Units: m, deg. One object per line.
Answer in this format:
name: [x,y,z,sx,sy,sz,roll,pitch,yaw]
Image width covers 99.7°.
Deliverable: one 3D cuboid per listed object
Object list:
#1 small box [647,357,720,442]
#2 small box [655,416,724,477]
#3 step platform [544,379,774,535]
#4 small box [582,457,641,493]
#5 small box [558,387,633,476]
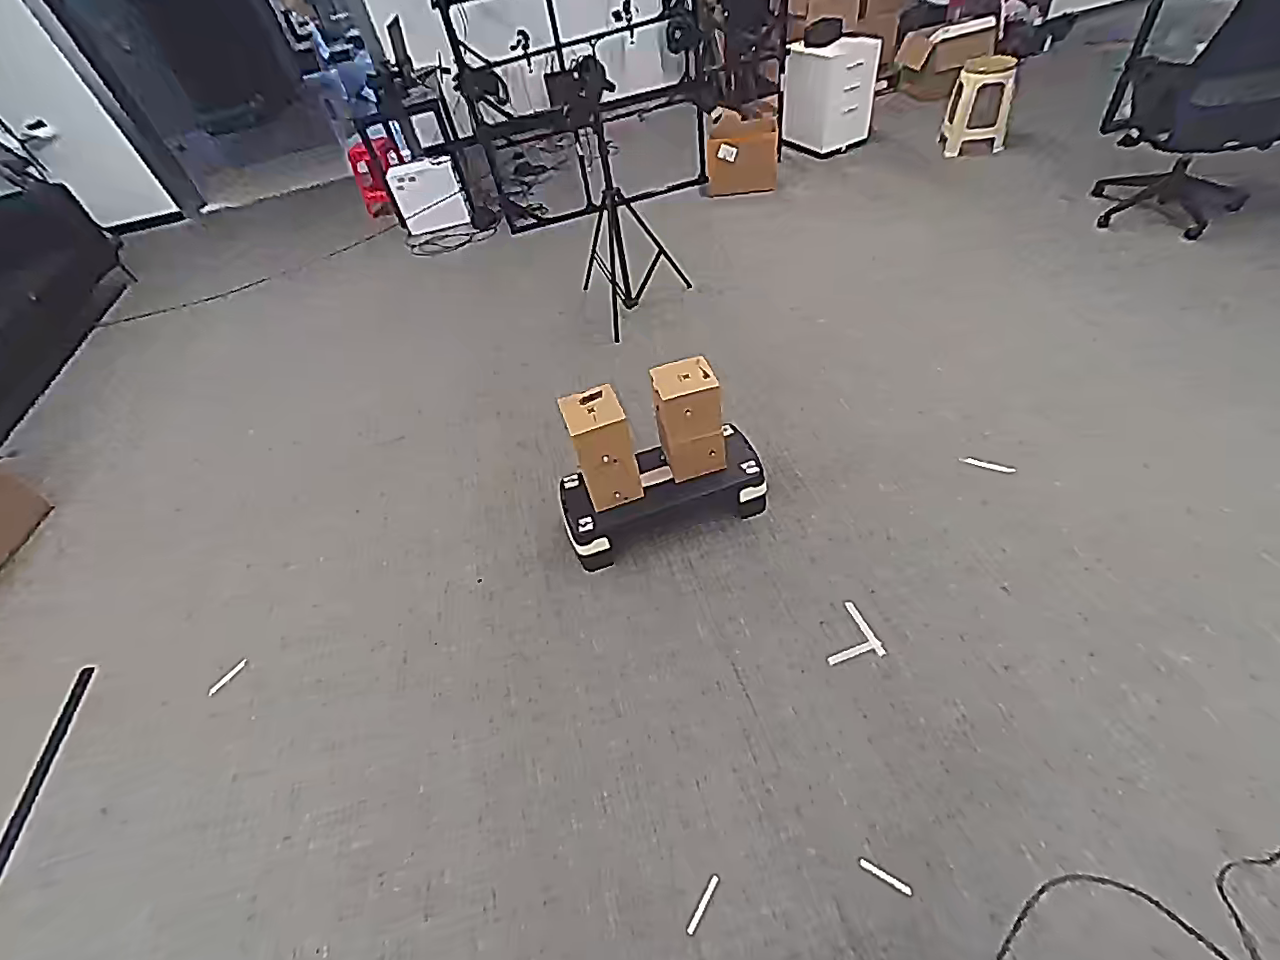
small box: [0.136,-0.241,1.646,0.179,0.176,0.168,-16,47,-2]
small box: [0.162,-0.117,1.750,0.179,0.176,0.168,-18,46,-5]
step platform: [0.061,-0.073,1.681,0.684,0.204,0.286,-18,47,-6]
small box: [-0.103,-0.030,1.723,0.168,0.176,0.179,-19,47,-6]
small box: [-0.130,-0.143,1.606,0.168,0.176,0.179,-20,48,-7]
